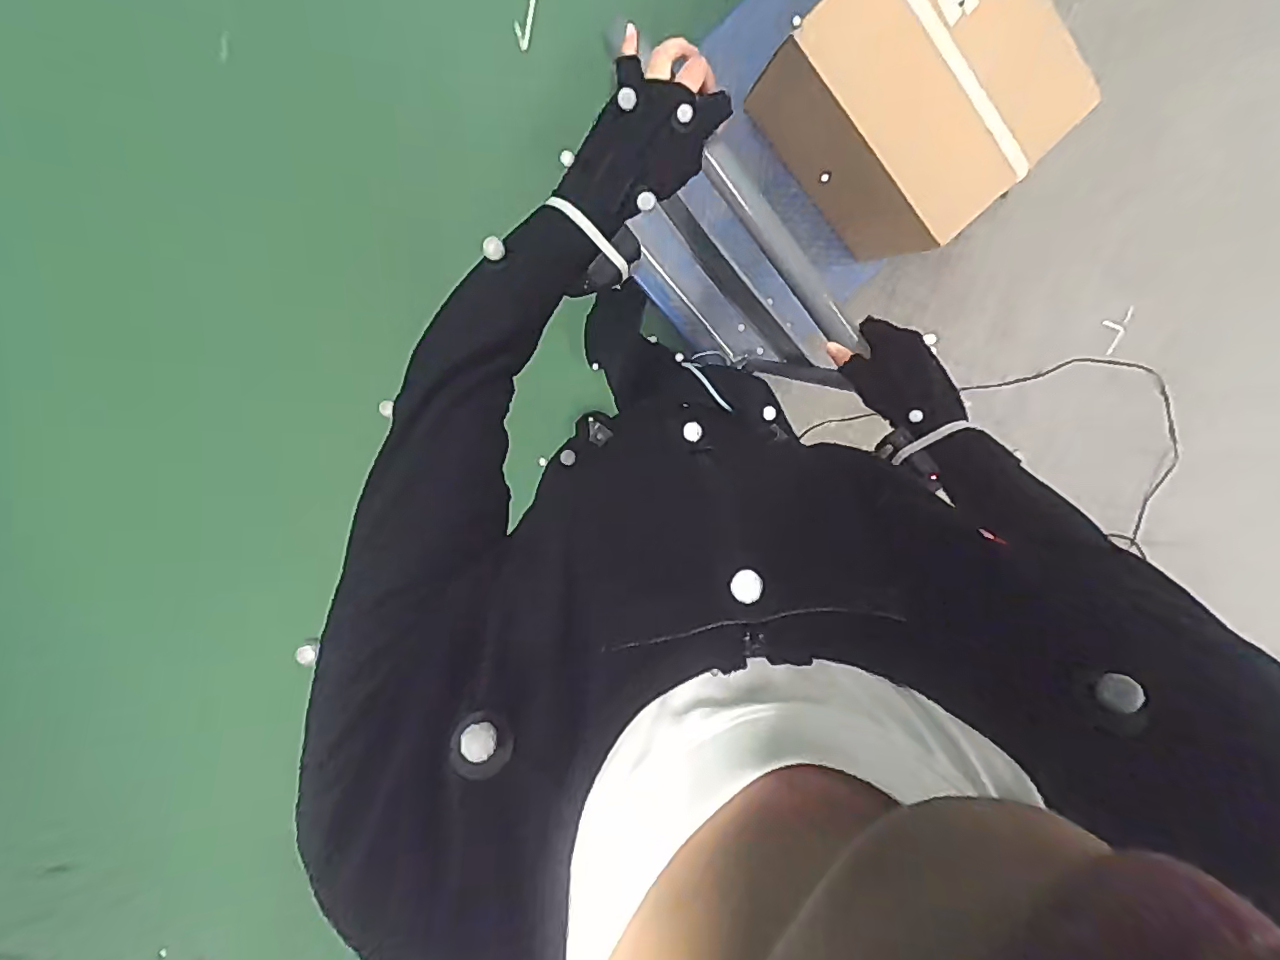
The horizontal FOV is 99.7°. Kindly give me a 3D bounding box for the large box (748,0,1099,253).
[{"bbox_3d":[0.462,-0.675,0.959,0.320,0.320,0.408,-44,104,10],"label":"large box"}]
